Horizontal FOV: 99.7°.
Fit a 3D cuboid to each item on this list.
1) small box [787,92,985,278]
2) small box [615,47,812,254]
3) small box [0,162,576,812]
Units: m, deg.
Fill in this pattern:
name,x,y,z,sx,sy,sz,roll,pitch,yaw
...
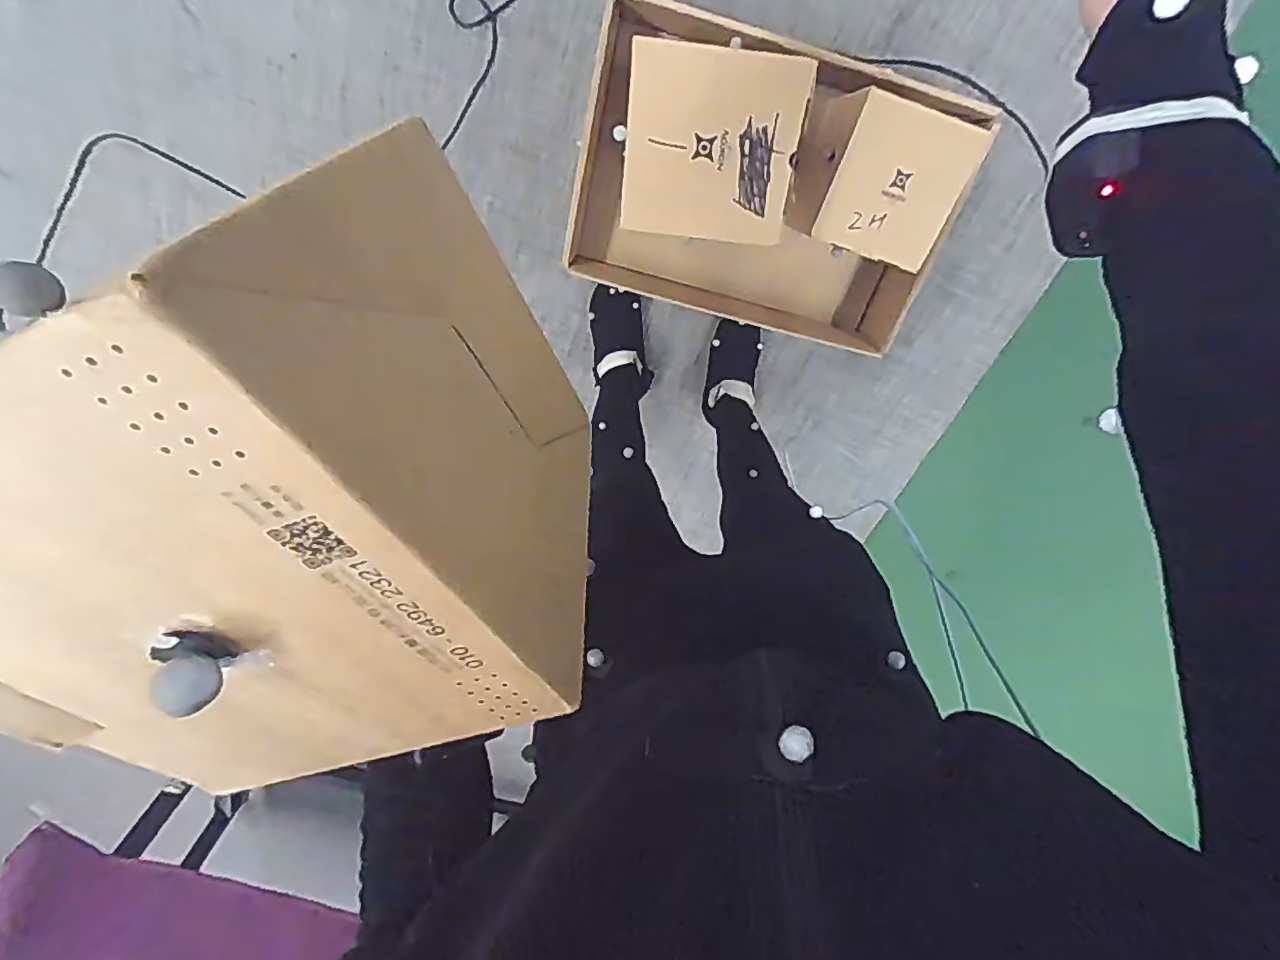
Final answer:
name,x,y,z,sx,sy,sz,roll,pitch,yaw
small box,0.326,-0.411,0.764,0.168,0.176,0.179,15,120,-7
small box,0.067,-0.364,0.609,0.179,0.176,0.168,5,121,-3
small box,-0.135,0.001,0.221,0.176,0.179,0.168,-19,130,12
